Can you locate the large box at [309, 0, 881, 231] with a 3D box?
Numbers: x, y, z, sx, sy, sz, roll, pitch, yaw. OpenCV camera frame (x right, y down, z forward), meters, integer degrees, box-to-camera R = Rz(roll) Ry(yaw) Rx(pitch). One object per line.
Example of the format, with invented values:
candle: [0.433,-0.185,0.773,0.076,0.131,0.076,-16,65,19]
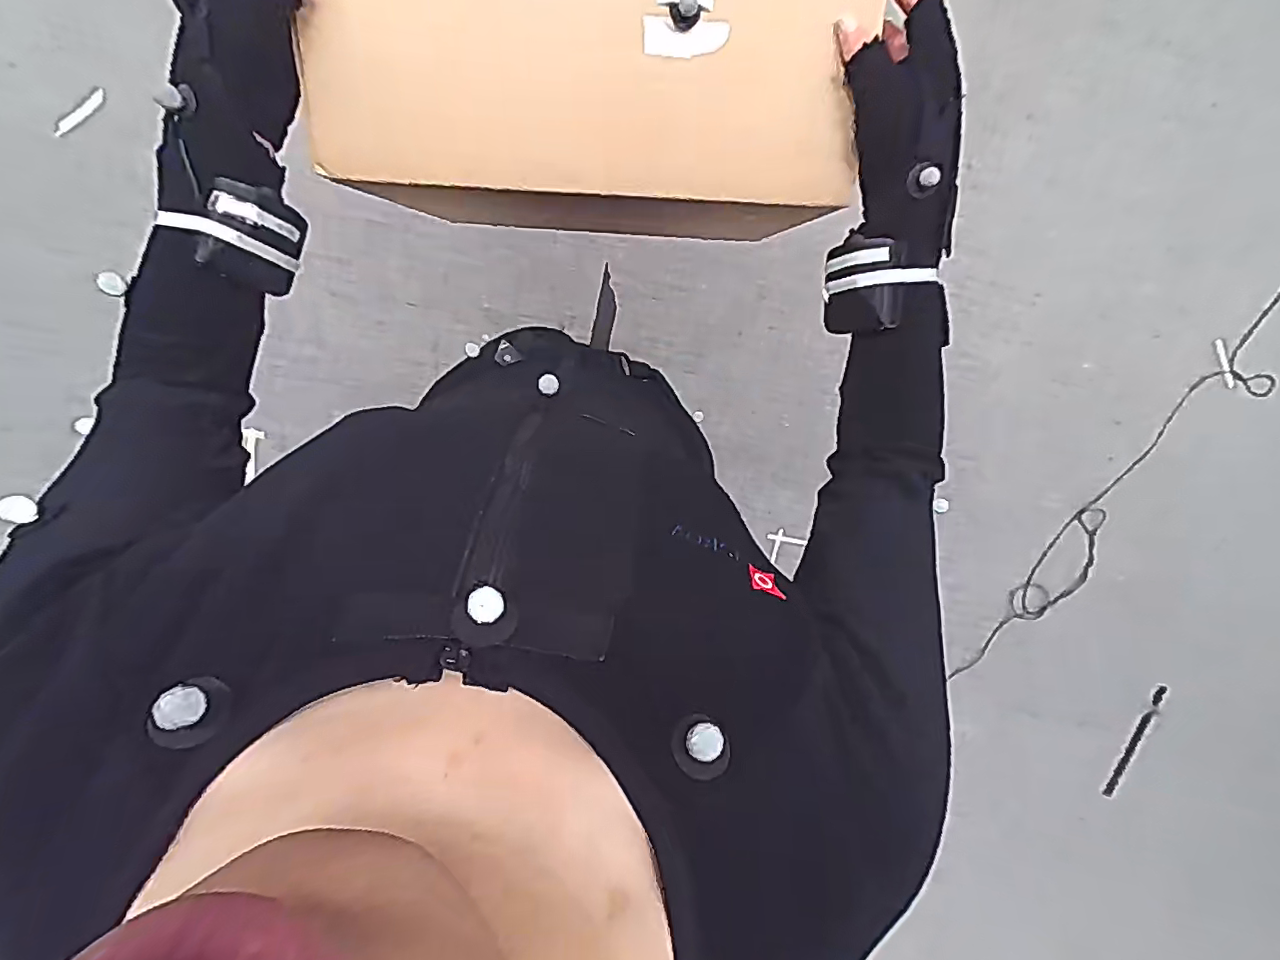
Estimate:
large box: [-0.033,-0.419,0.502,0.408,0.320,0.320,2,110,-2]
